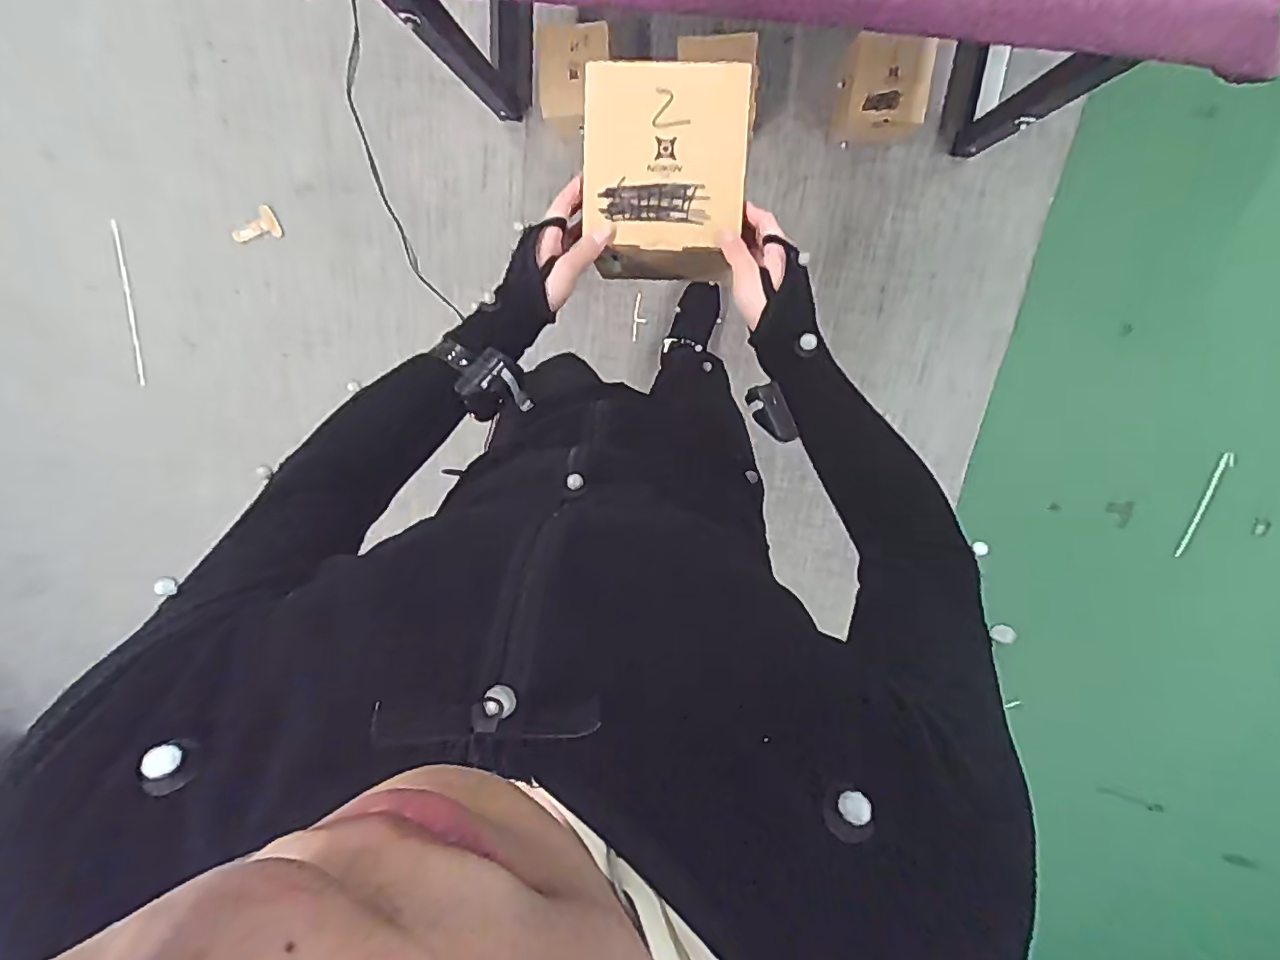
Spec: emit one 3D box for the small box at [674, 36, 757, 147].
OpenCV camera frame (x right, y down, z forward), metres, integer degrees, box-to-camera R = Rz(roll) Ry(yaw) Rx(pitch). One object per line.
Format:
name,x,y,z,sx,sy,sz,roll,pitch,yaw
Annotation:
small box,0.169,-0.891,1.253,0.179,0.176,0.168,1,106,5

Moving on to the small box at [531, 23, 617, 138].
small box,-0.146,-0.923,1.269,0.168,0.176,0.179,-1,107,5

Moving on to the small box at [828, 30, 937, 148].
small box,0.536,-0.874,1.225,0.168,0.176,0.179,4,106,3

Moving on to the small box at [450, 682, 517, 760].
small box,-0.524,0.808,1.827,0.179,0.176,0.168,8,107,2
